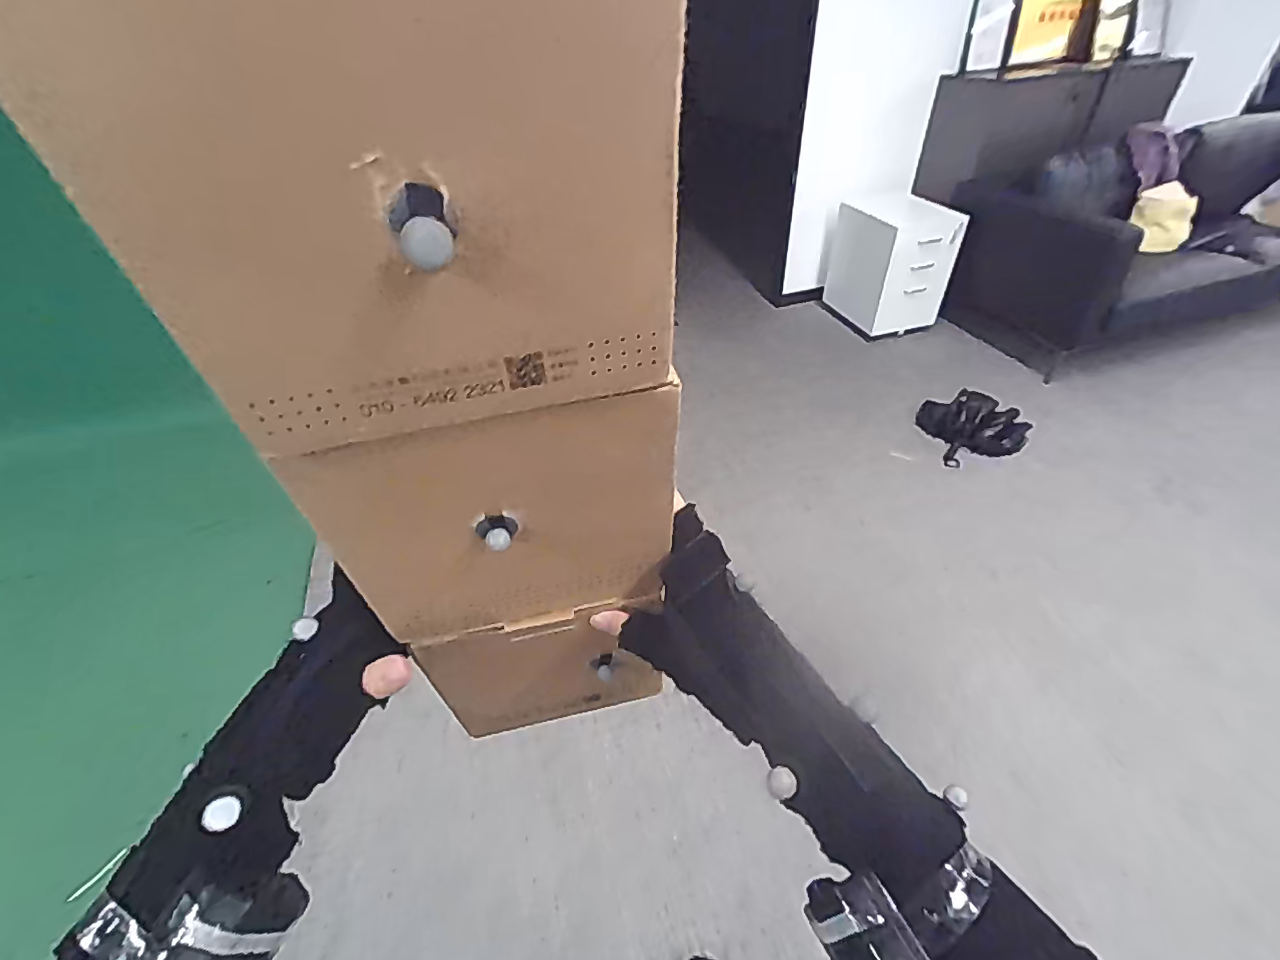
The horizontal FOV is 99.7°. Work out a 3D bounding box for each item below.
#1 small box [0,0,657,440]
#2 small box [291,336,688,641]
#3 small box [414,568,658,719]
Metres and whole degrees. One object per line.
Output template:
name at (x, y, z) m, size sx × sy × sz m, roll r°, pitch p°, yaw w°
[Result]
small box at (-0.092, -0.134, 0.226) m, size 0.168 × 0.176 × 0.179 m, roll -13°, pitch 49°, yaw -10°
small box at (-0.083, -0.023, 0.346) m, size 0.179 × 0.176 × 0.168 m, roll -13°, pitch 49°, yaw -11°
small box at (-0.081, 0.086, 0.468) m, size 0.168 × 0.176 × 0.179 m, roll -11°, pitch 47°, yaw -8°
